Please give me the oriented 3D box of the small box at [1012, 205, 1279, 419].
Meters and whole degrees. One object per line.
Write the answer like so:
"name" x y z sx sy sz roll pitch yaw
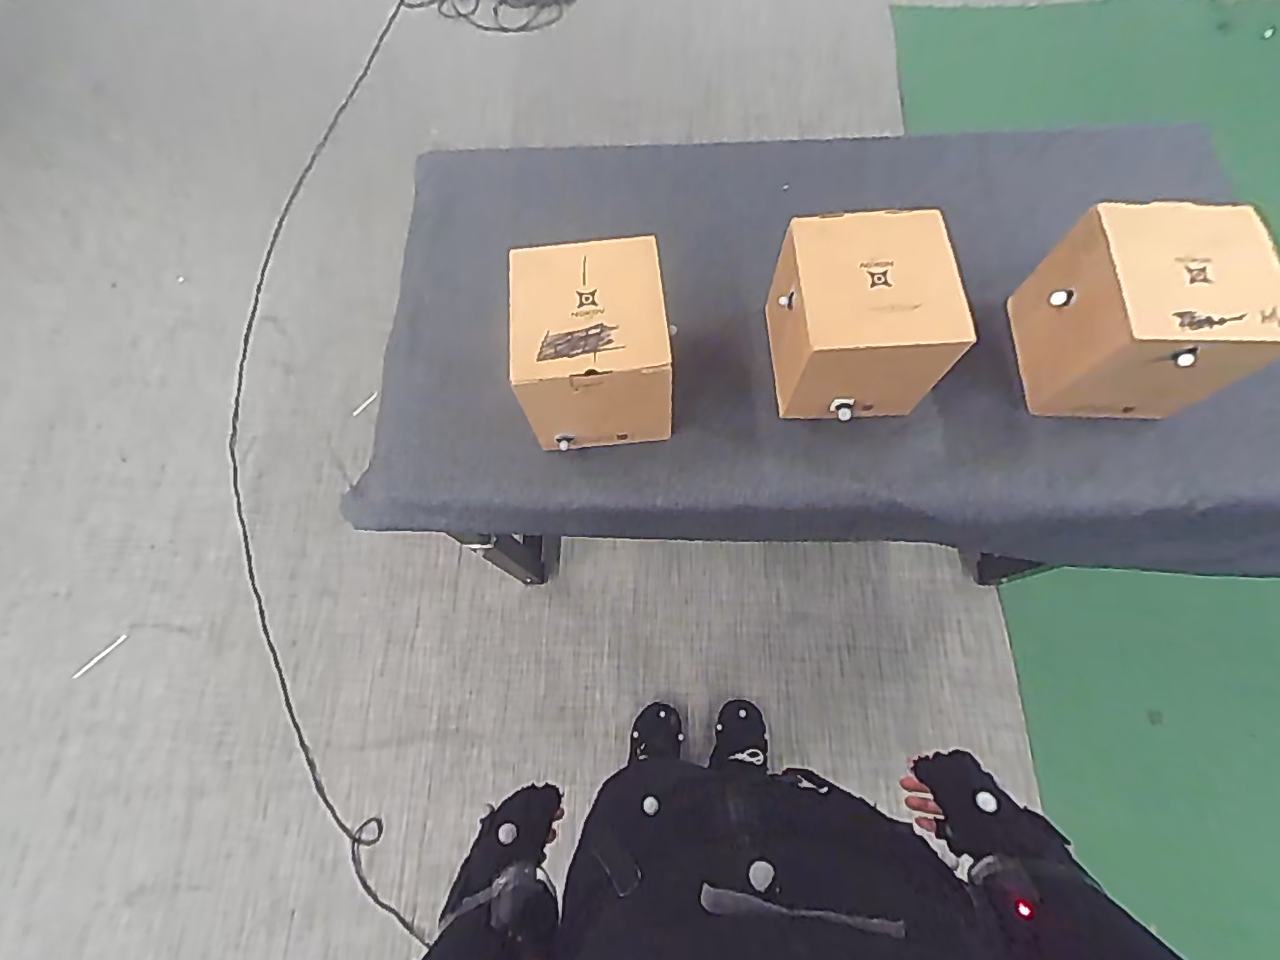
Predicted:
"small box" 0.574 -0.189 0.633 0.168 0.176 0.179 2 69 5

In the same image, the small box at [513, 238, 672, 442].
"small box" -0.050 -0.155 0.651 0.168 0.176 0.179 -5 68 0

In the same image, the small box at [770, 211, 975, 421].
"small box" 0.259 -0.188 0.652 0.168 0.176 0.179 -3 71 3
